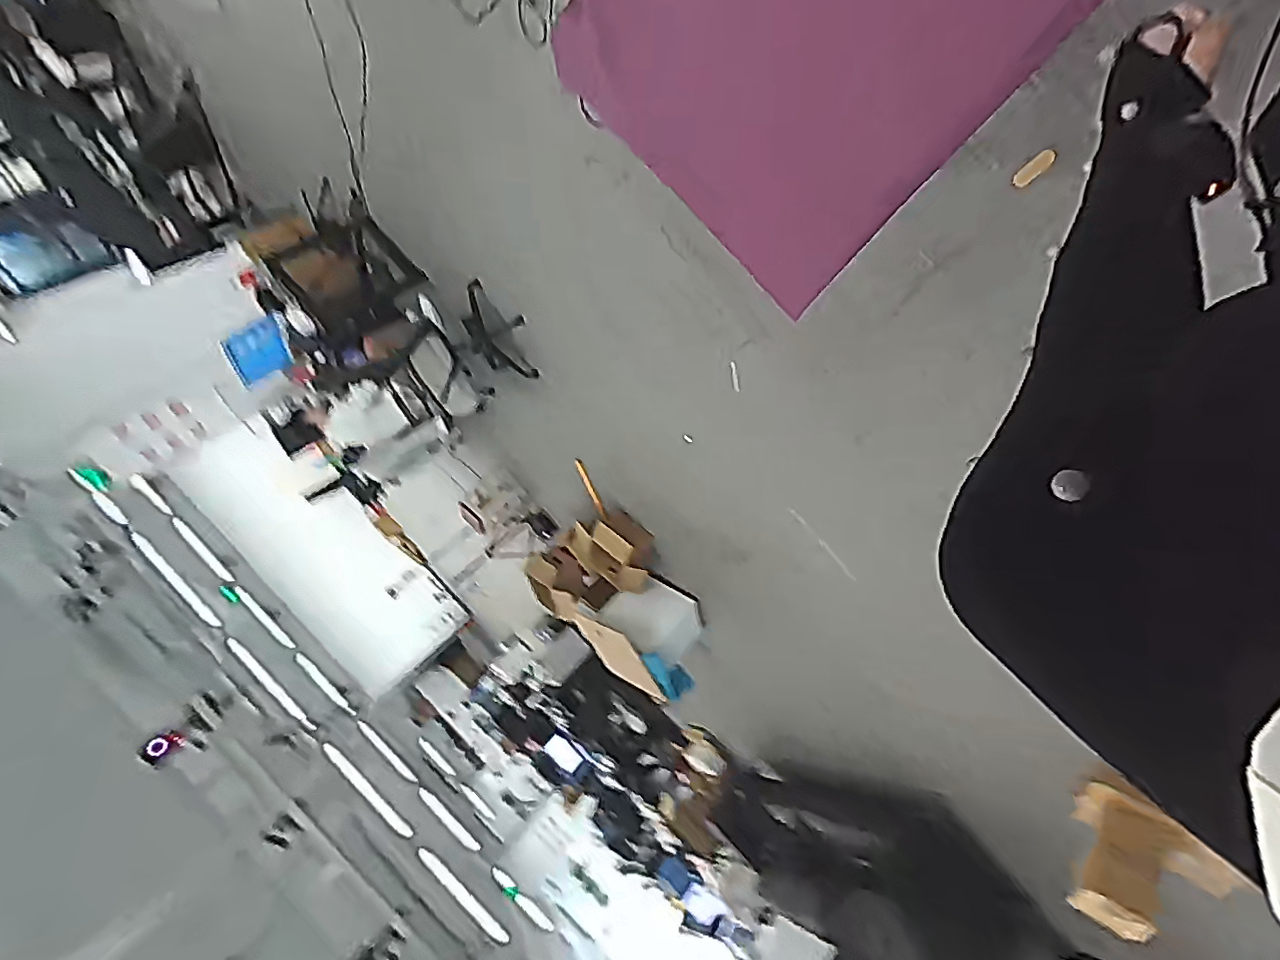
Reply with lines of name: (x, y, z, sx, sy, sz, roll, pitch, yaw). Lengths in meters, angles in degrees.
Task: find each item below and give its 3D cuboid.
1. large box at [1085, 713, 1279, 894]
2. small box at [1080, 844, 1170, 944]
large box: (1.851, 1.098, 1.870, 0.408, 0.320, 0.320, 19, 141, 40)
small box: (1.524, 1.292, 1.698, 0.168, 0.176, 0.179, 21, 143, 39)
